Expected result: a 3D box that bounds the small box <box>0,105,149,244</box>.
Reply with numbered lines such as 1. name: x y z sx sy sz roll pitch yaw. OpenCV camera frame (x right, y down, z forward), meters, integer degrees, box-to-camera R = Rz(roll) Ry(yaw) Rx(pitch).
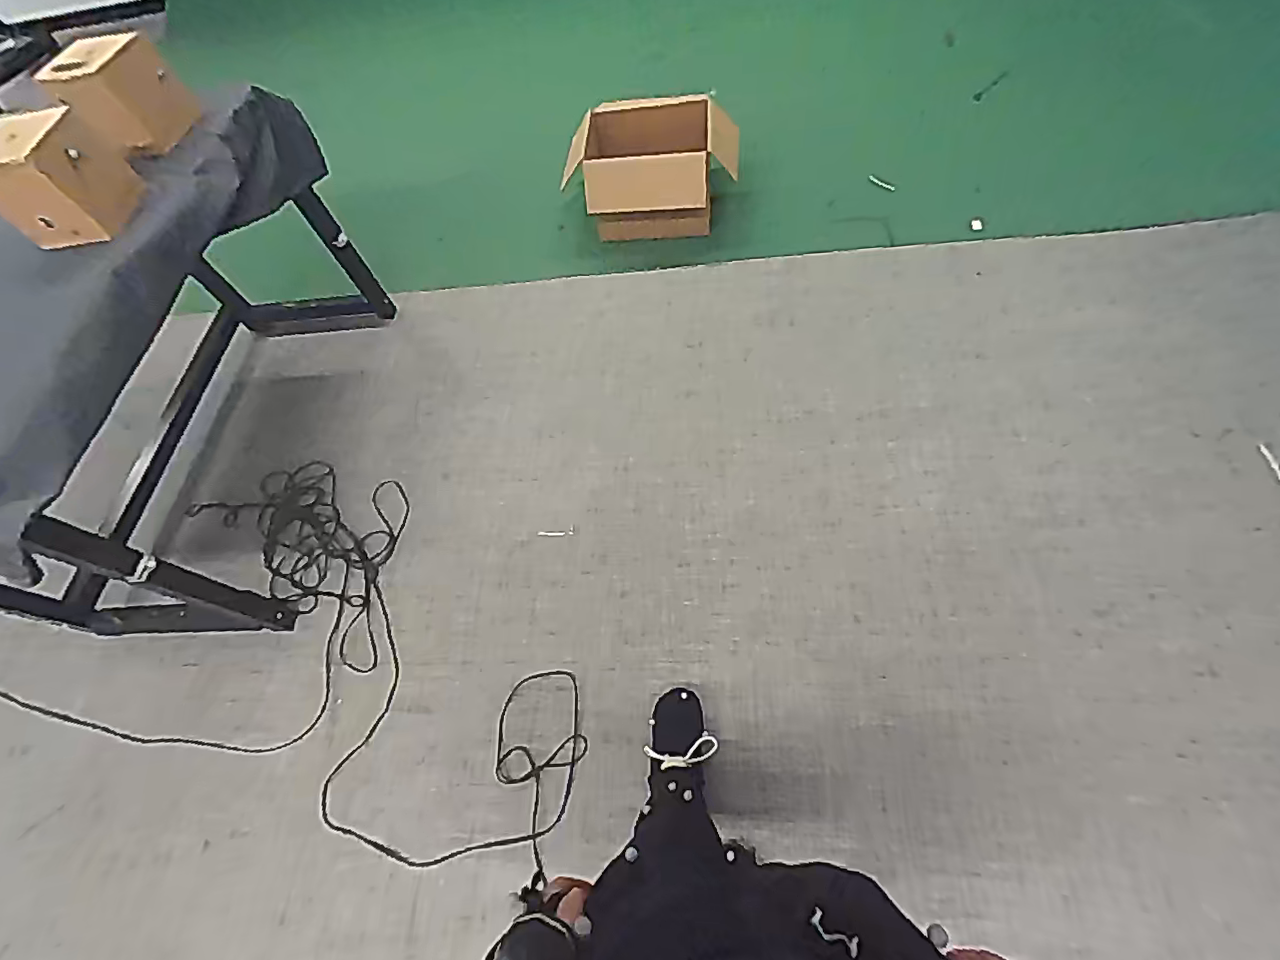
1. small box: -1.141 -0.600 1.072 0.168 0.176 0.179 -5 62 6
